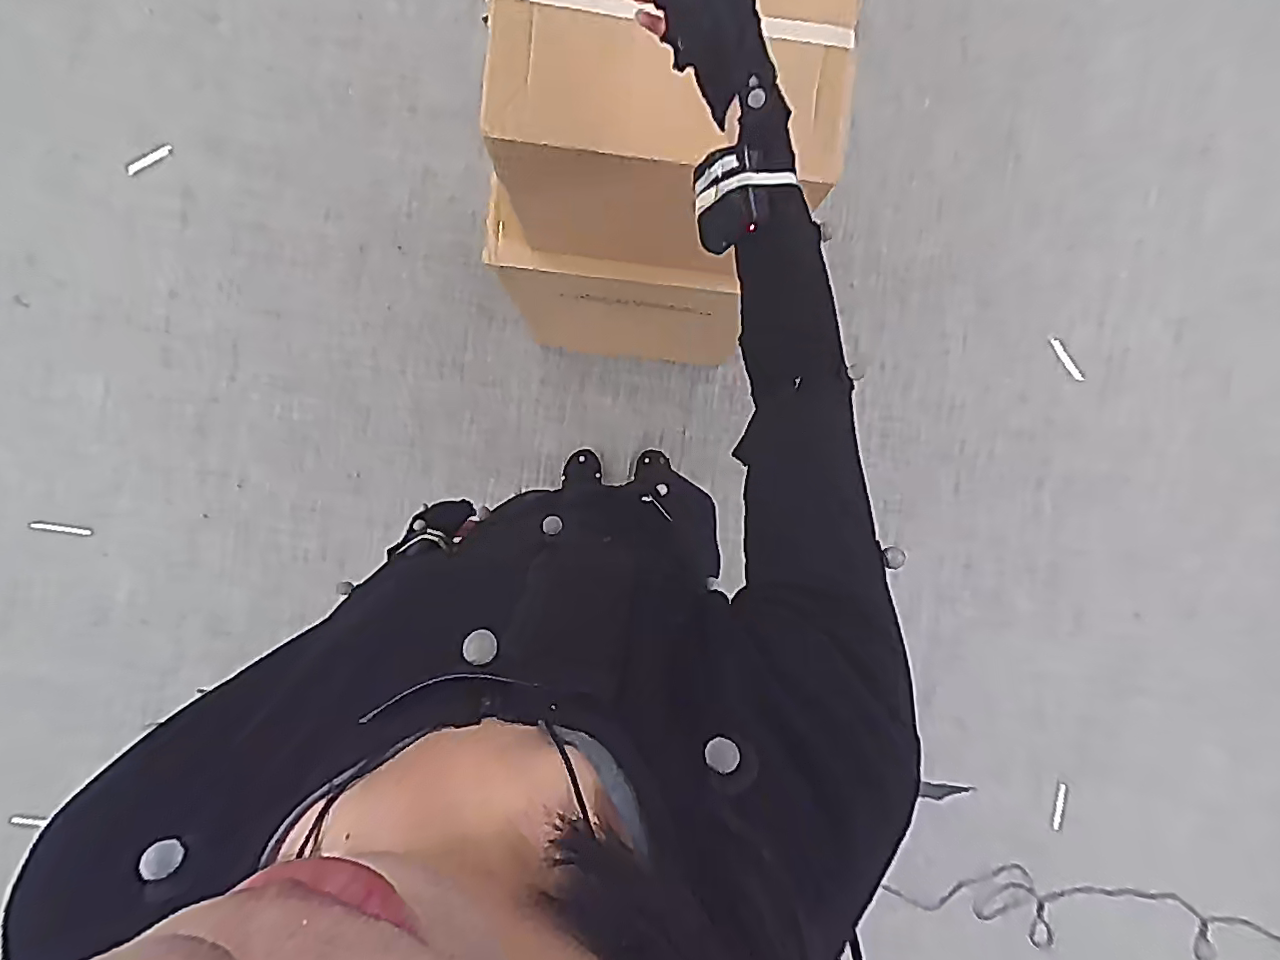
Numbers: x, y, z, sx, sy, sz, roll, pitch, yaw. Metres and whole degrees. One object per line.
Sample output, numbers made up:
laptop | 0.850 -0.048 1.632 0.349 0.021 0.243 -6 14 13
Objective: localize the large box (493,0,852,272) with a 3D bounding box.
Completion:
large box | 0.032 -0.519 0.764 0.408 0.320 0.320 6 91 -4
